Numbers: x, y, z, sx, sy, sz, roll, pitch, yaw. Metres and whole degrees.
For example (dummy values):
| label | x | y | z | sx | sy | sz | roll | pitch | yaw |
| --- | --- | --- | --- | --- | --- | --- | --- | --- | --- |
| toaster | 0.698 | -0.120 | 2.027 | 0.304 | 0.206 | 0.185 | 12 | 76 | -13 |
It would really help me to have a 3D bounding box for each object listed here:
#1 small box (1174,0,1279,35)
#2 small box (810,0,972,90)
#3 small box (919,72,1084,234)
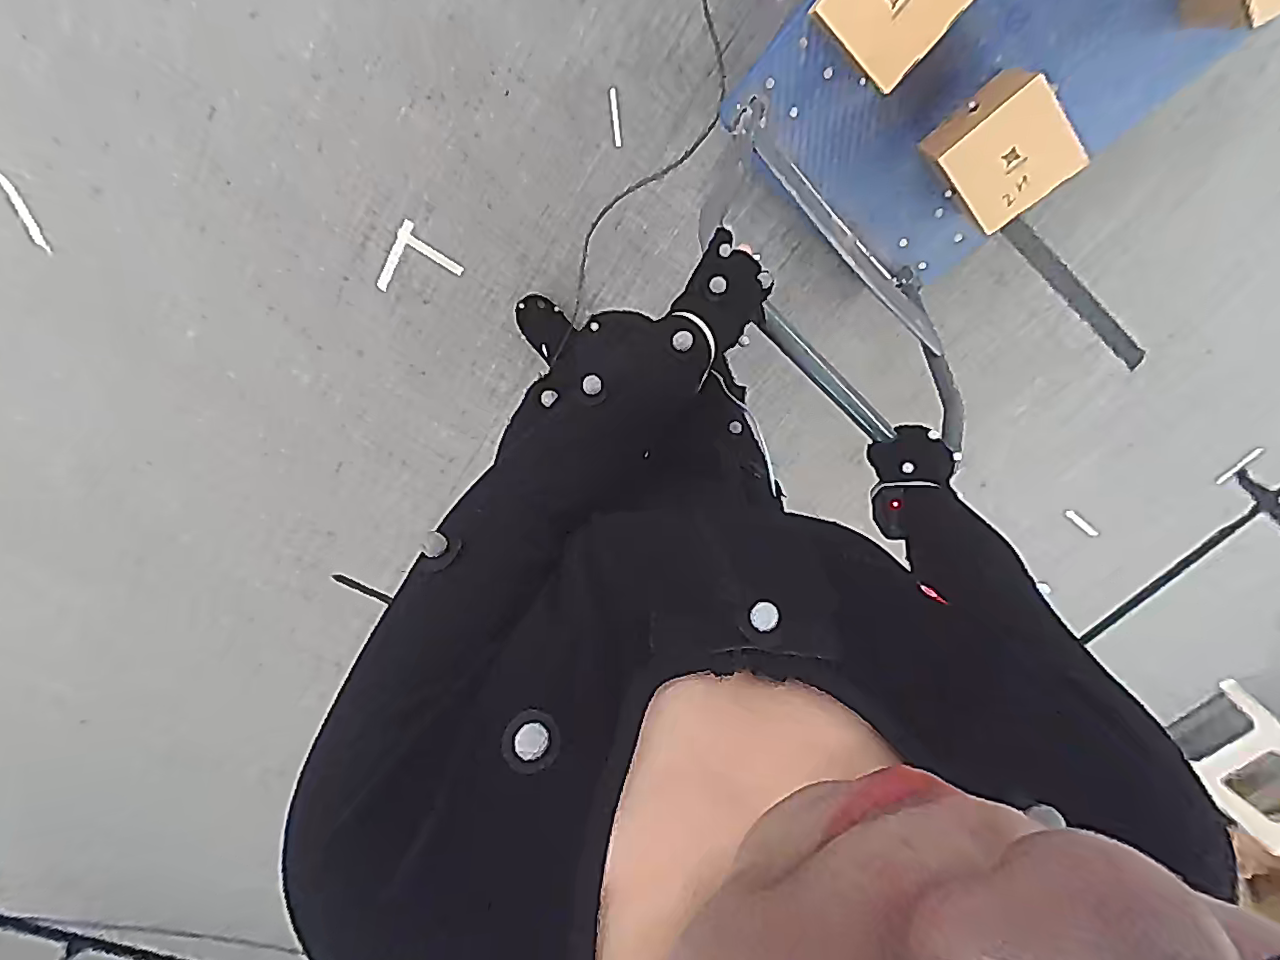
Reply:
| label | x | y | z | sx | sy | sz | roll | pitch | yaw |
| --- | --- | --- | --- | --- | --- | --- | --- | --- | --- |
| small box | 0.889 | -0.767 | 0.747 | 0.179 | 0.176 | 0.168 | -26 | 119 | 31 |
| small box | 0.392 | -0.766 | 0.861 | 0.179 | 0.176 | 0.168 | 35 | 127 | -18 |
| small box | 0.627 | -0.580 | 0.960 | 0.179 | 0.176 | 0.168 | 41 | 126 | -21 |
